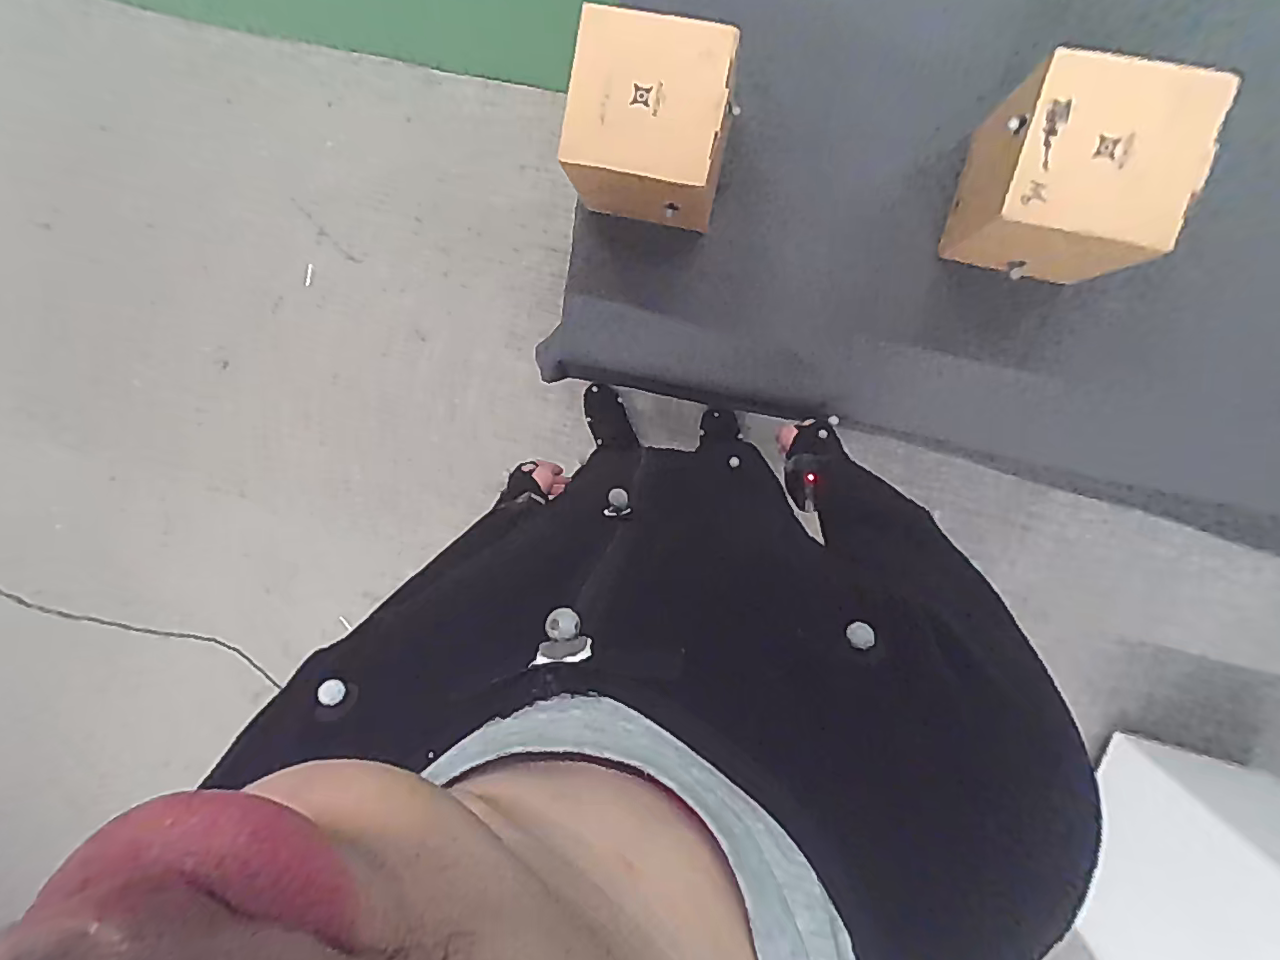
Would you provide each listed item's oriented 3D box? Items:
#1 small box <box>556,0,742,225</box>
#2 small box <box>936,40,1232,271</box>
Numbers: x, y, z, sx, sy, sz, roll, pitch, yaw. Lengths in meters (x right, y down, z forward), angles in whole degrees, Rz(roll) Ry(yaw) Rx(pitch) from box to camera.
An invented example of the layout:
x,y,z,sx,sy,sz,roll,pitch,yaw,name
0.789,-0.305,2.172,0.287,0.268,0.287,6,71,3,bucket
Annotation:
x,y,z,sx,sy,sz,roll,pitch,yaw,name
0.013,-0.429,0.655,0.179,0.176,0.168,11,98,4,small box
0.488,-0.354,0.628,0.179,0.176,0.168,13,100,2,small box
